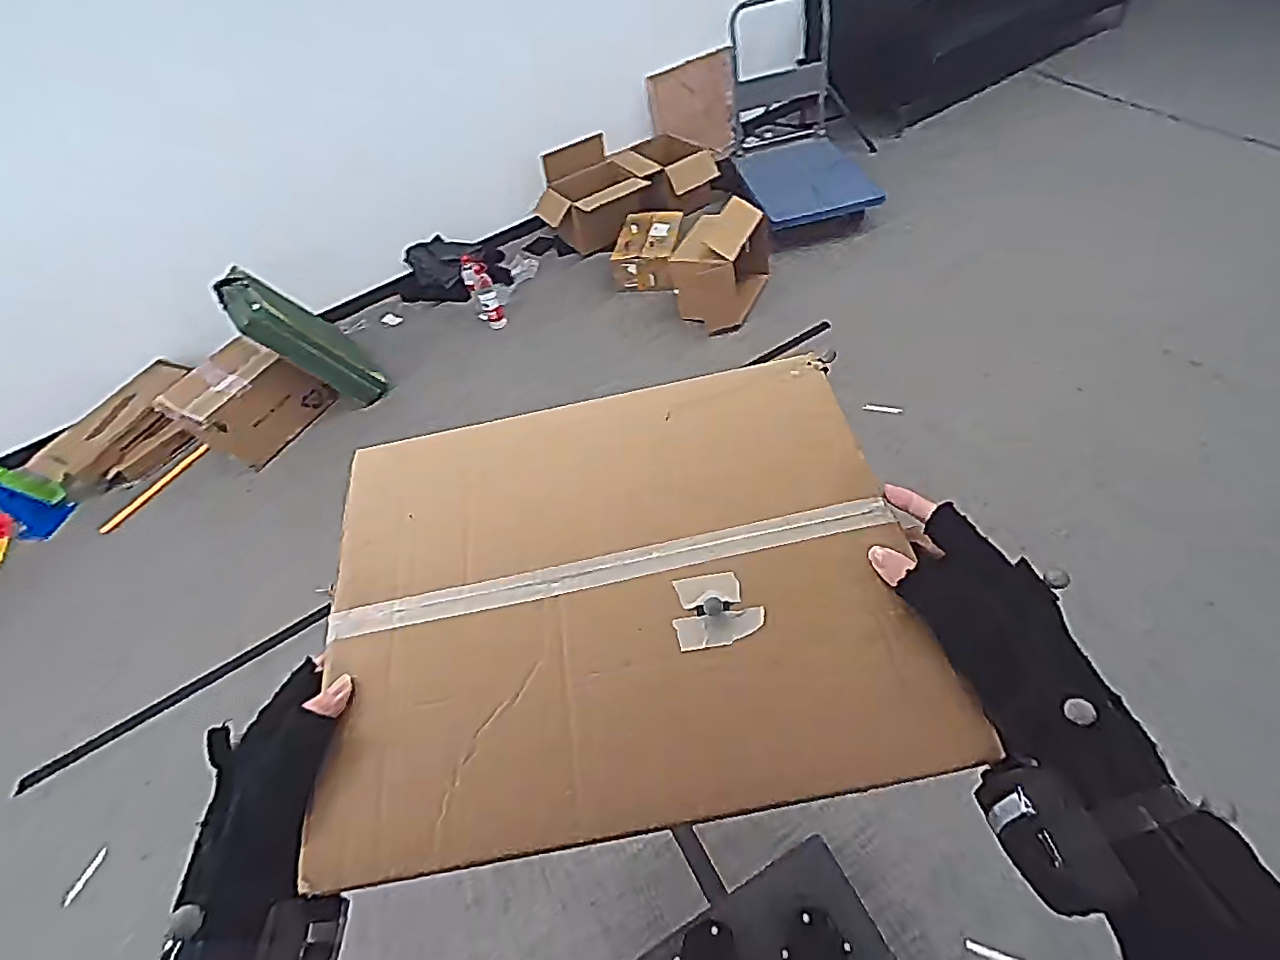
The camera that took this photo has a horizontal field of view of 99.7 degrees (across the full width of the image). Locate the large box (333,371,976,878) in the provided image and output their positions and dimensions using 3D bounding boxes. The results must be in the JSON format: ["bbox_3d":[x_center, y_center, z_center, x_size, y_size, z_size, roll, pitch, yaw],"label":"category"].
[{"bbox_3d":[0.000,0.147,0.525,0.408,0.320,0.320,-12,59,1],"label":"large box"}]
